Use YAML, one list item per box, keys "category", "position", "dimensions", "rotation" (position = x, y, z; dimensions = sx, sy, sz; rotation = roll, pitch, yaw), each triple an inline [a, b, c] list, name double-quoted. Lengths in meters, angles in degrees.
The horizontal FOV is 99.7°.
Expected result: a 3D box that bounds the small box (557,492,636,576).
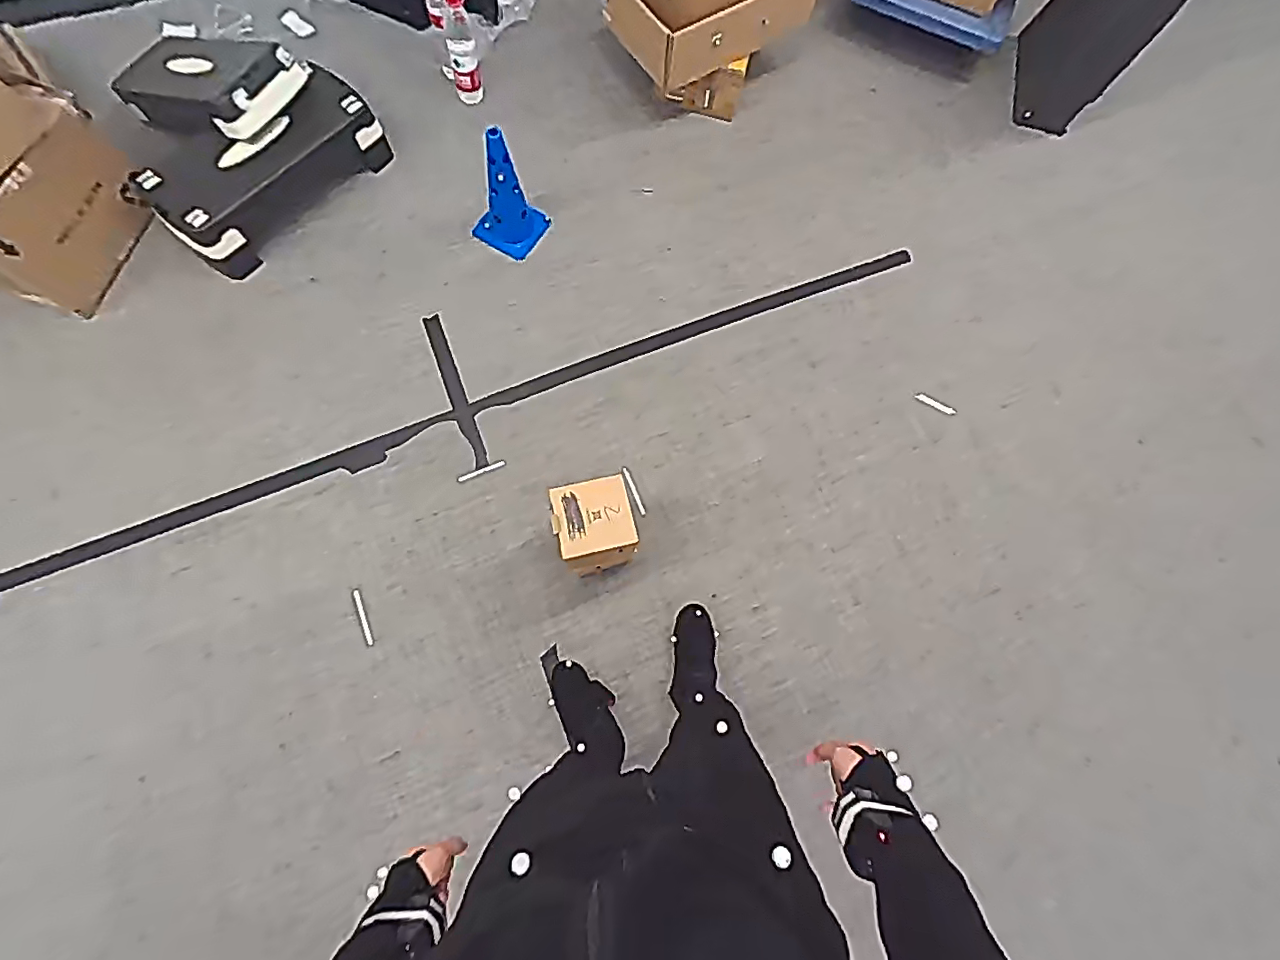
- category: "small box"
  position: [-0.116, 0.153, 1.454]
  dimensions: [0.168, 0.176, 0.179]
  rotation: [-17, 76, -9]
